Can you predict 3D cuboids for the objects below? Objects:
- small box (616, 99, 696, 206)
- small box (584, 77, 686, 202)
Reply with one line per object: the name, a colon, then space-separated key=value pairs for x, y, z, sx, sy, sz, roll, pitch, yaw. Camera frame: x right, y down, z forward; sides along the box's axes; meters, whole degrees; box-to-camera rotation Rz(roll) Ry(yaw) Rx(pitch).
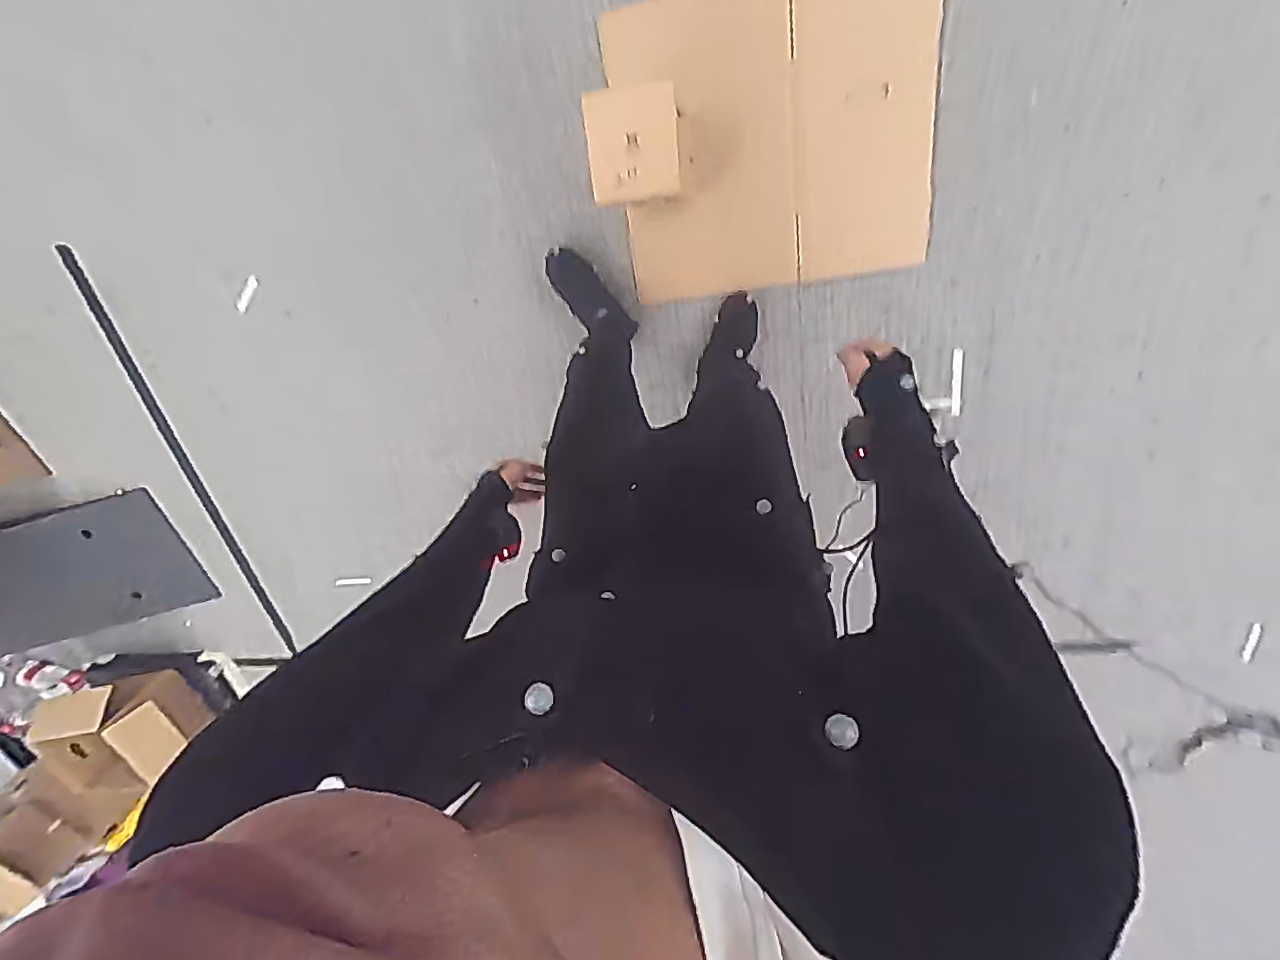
small box: x=0.032 y=-0.706 z=1.180 sx=0.168 sy=0.176 sz=0.179 roll=-2 pitch=117 yaw=10
small box: x=-0.001 y=-0.638 z=1.032 sx=0.168 sy=0.176 sz=0.179 roll=-1 pitch=117 yaw=10
